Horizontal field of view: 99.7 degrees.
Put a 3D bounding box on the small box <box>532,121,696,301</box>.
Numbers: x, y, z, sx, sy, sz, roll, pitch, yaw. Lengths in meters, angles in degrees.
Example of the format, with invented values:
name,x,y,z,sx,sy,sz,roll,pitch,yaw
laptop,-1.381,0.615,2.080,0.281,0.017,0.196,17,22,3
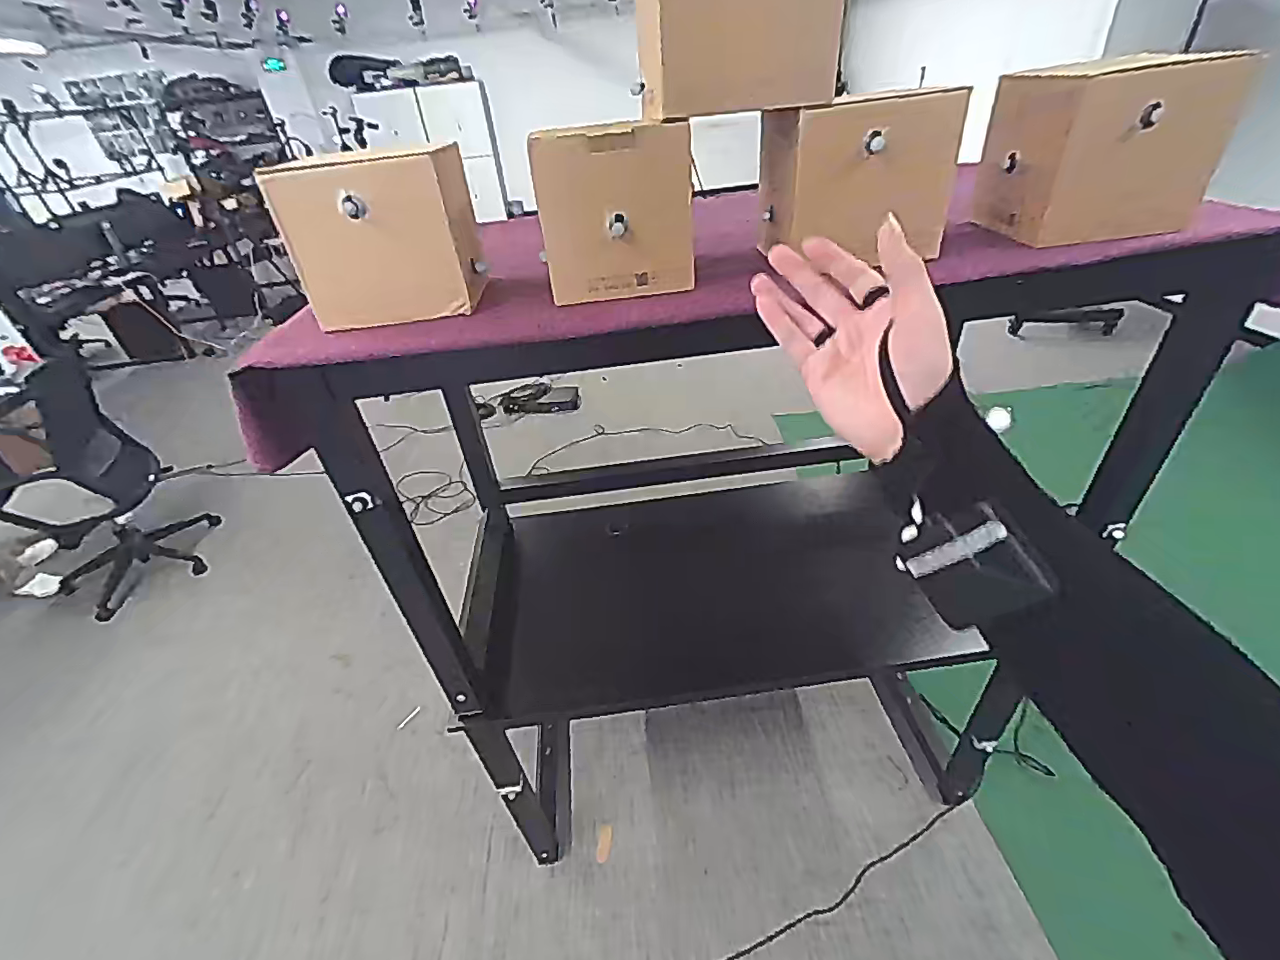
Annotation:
name,x,y,z,sx,sy,sz,roll,pitch,yaw
small box,-0.027,-0.322,0.652,0.168,0.176,0.179,-7,35,-2

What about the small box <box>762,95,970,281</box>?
name,x,y,z,sx,sy,sz,roll,pitch,yaw
small box,0.253,-0.355,0.657,0.179,0.176,0.168,-8,34,0

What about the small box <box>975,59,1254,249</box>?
name,x,y,z,sx,sy,sz,roll,pitch,yaw
small box,0.539,-0.388,0.654,0.179,0.176,0.168,-5,37,3

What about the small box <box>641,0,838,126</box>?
name,x,y,z,sx,sy,sz,roll,pitch,yaw
small box,0.097,-0.475,0.564,0.179,0.176,0.168,-7,34,-3
